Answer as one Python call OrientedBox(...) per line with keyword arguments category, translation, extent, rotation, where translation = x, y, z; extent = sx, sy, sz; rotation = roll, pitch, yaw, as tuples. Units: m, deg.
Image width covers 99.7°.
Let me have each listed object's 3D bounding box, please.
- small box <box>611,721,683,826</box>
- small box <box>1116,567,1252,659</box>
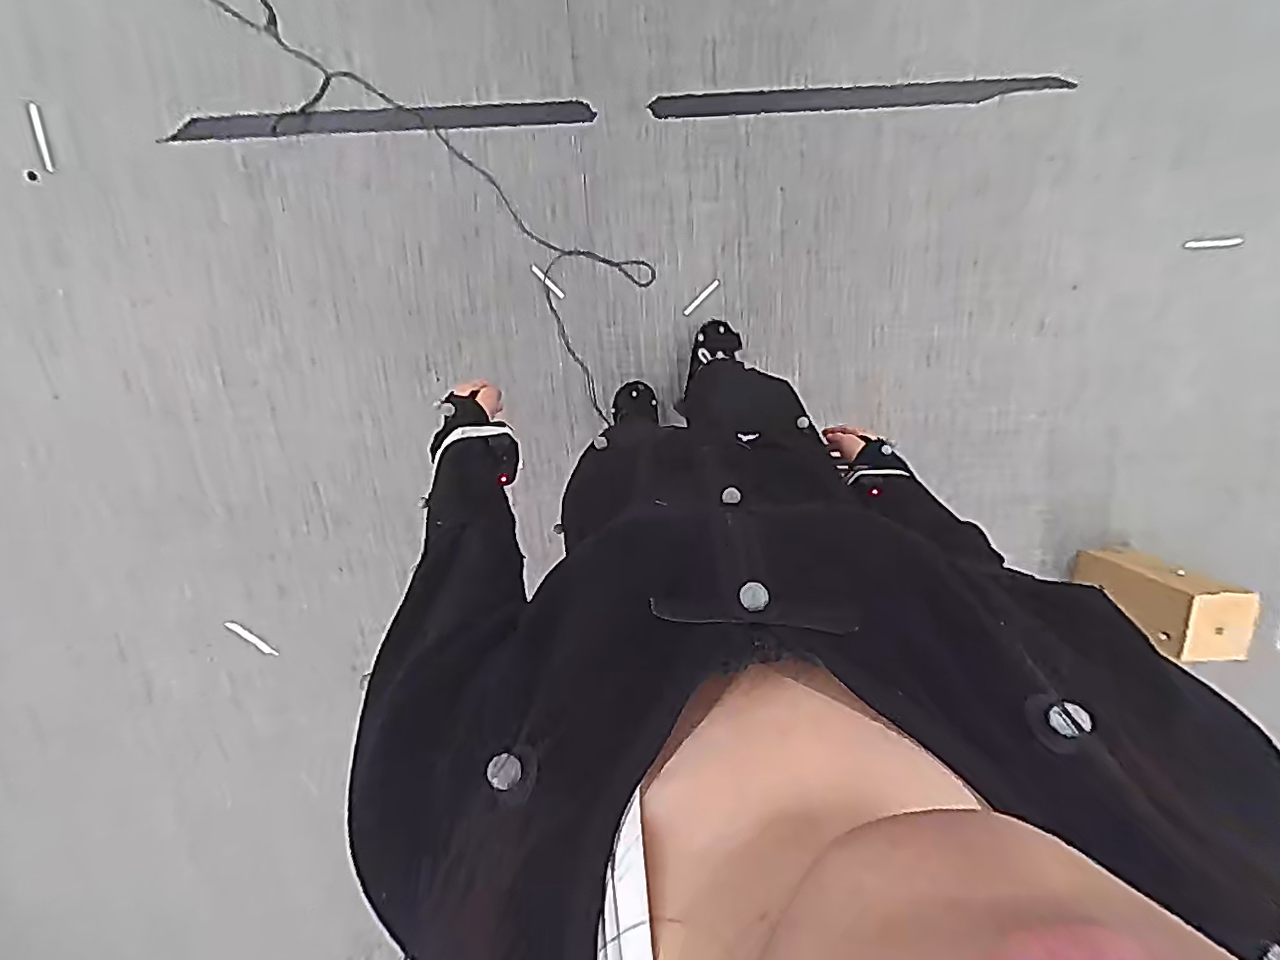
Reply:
OrientedBox(category="small box", translation=(0.014, 0.757, 1.416), extent=(0.168, 0.176, 0.179), rotation=(-8, 103, 0))
OrientedBox(category="small box", translation=(1.370, 0.334, 1.375), extent=(0.168, 0.176, 0.179), rotation=(-1, 101, -3))
